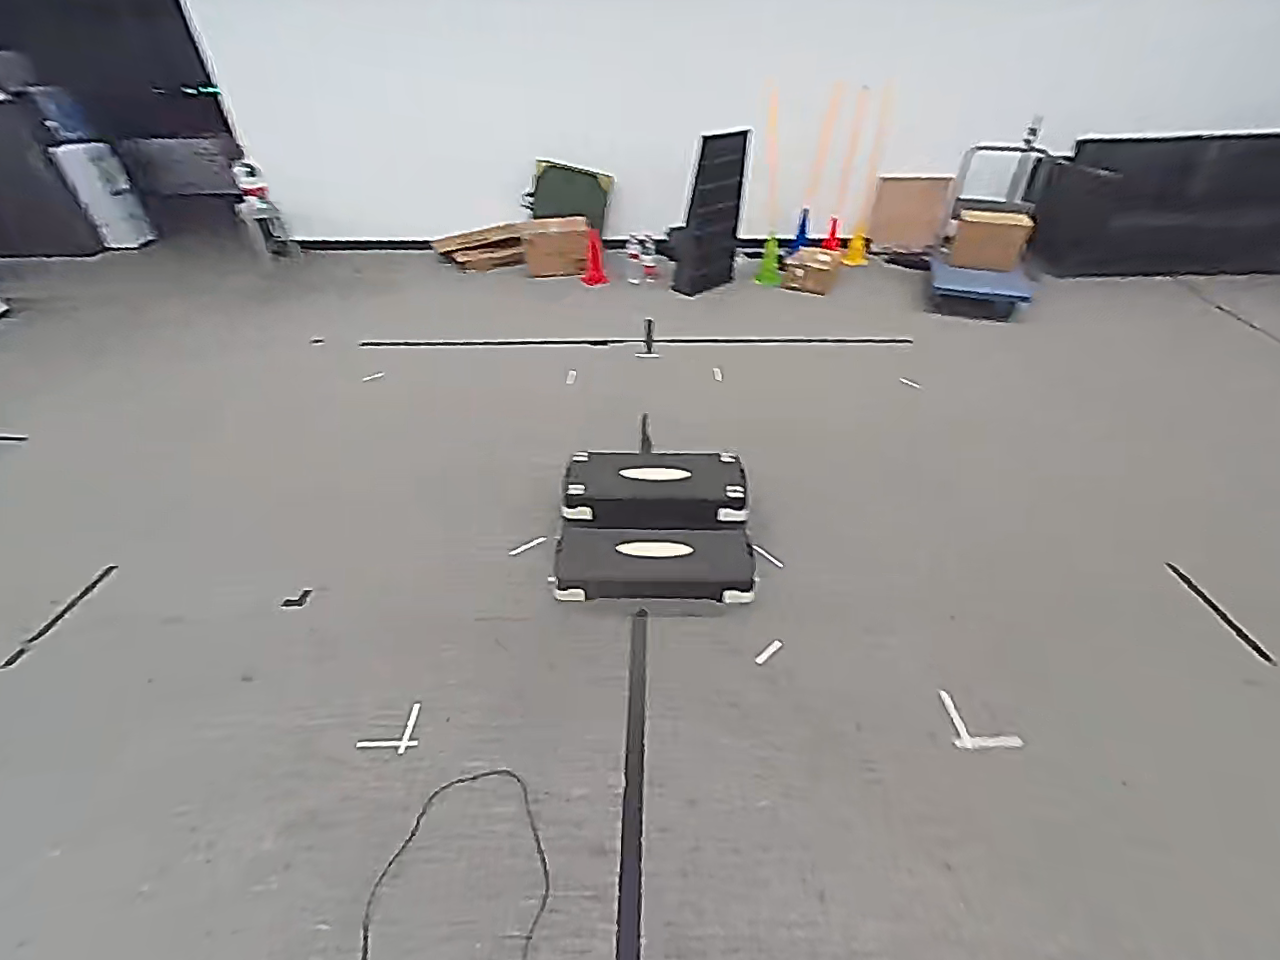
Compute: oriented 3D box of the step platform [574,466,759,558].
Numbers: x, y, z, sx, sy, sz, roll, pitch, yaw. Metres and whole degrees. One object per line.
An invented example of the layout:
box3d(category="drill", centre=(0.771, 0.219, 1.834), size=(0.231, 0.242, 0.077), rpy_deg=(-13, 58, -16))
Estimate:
box3d(category="step platform", centre=(0.099, 0.112, 2.036), size=(0.684, 0.204, 0.286), rpy_deg=(3, 37, 5))
